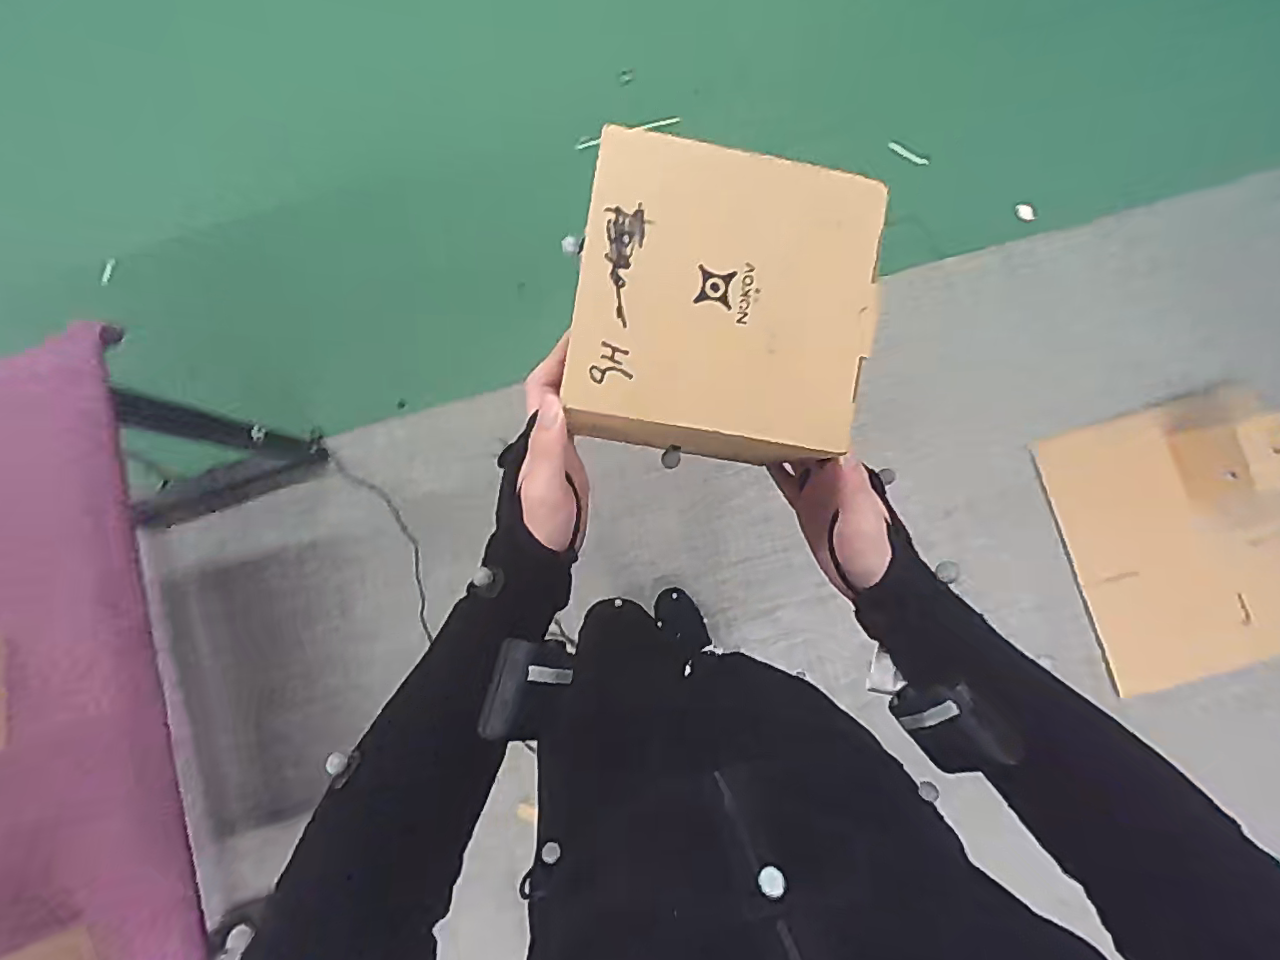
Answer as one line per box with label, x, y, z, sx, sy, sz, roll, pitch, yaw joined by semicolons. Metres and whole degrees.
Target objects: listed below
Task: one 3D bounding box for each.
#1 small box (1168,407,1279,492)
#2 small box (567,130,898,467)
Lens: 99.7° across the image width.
small box;1.499;-0.072;1.353;0.168;0.176;0.179;-14;83;0
small box;0.048;-0.104;0.393;0.179;0.176;0.168;10;88;-6
